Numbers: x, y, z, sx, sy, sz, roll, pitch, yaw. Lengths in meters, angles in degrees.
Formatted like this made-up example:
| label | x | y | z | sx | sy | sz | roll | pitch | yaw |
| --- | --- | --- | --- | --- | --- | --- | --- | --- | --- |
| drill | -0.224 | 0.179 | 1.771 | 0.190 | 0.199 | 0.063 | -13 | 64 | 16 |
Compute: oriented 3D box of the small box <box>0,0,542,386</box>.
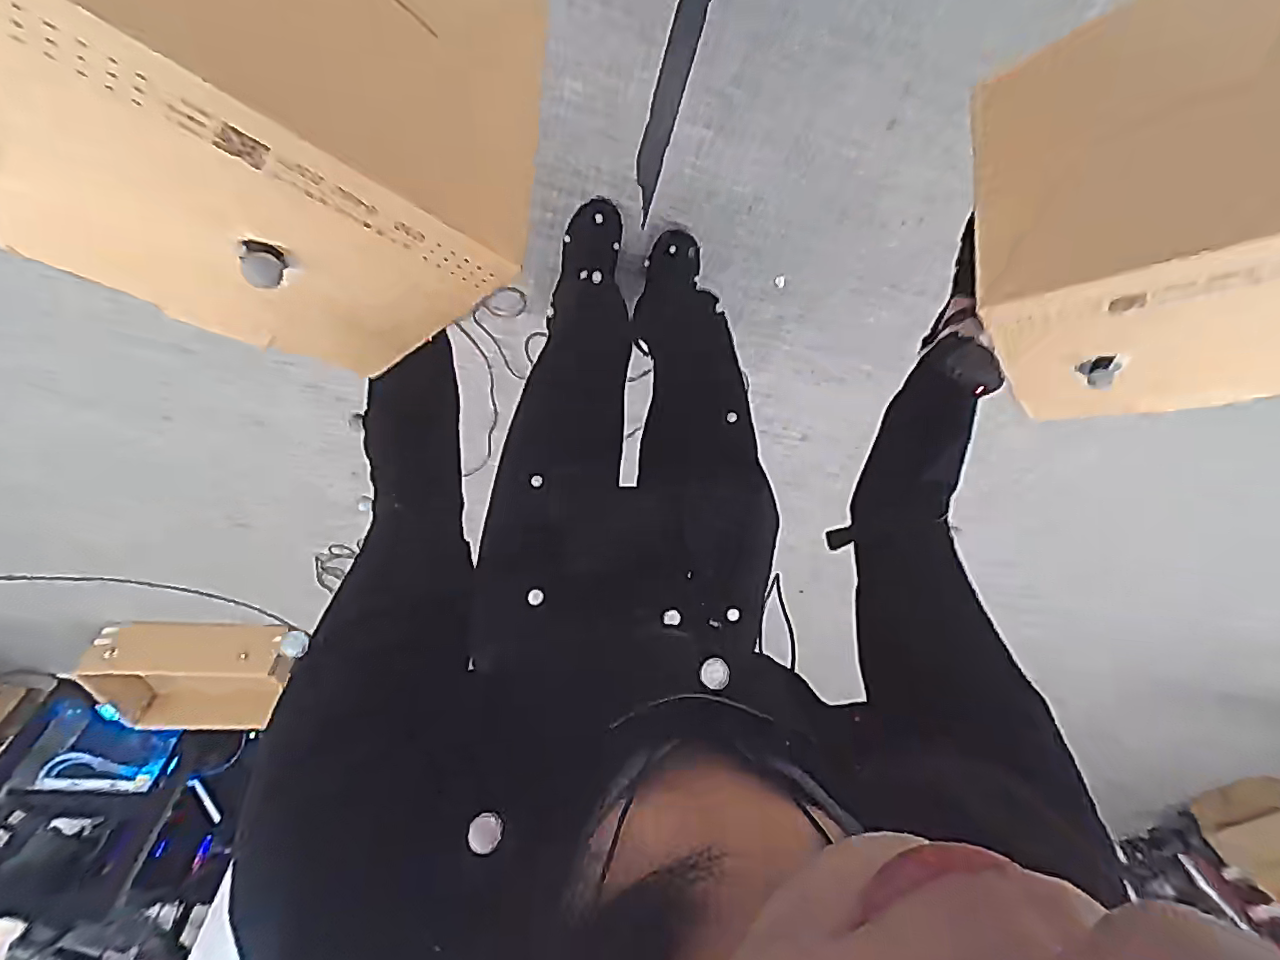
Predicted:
| label | x | y | z | sx | sy | sz | roll | pitch | yaw |
| --- | --- | --- | --- | --- | --- | --- | --- | --- | --- |
| small box | -0.162 | -0.172 | 0.246 | 0.176 | 0.179 | 0.168 | -15 | 156 | 40 |
